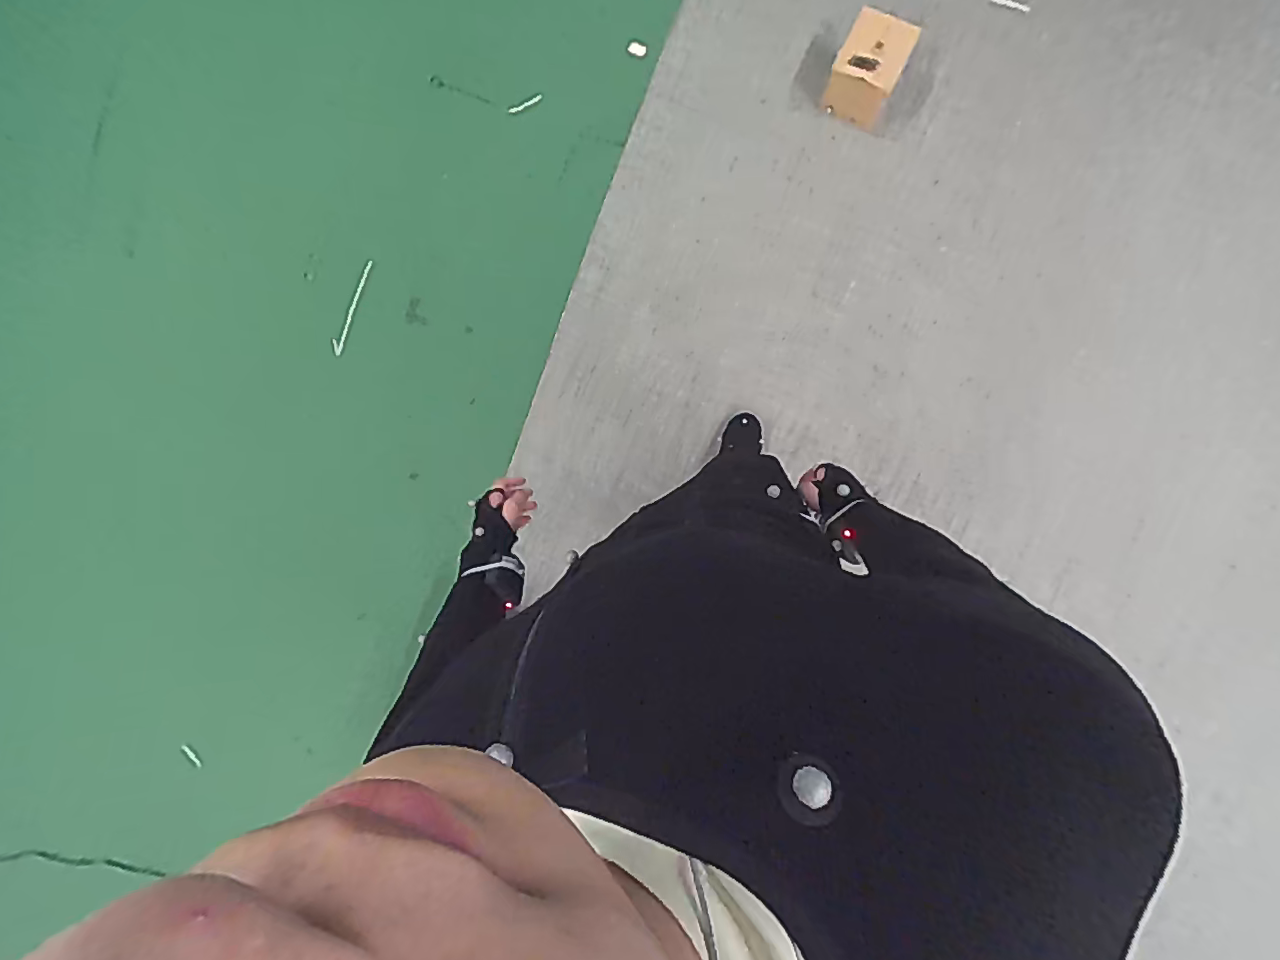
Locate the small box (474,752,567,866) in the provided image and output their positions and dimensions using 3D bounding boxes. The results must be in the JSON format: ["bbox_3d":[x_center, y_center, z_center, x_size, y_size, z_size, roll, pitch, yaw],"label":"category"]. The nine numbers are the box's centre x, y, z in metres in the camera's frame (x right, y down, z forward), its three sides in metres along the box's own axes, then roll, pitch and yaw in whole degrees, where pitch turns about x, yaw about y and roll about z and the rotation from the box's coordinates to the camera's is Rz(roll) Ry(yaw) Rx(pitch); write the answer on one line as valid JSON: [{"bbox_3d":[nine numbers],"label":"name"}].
[{"bbox_3d":[-0.312,0.871,1.454,0.168,0.176,0.179,23,93,5],"label":"small box"}]

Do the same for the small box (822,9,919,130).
[{"bbox_3d":[0.617,-1.109,1.479,0.168,0.176,0.179,27,94,3],"label":"small box"}]

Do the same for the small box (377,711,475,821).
[{"bbox_3d":[-0.573,0.770,1.473,0.168,0.176,0.179,21,94,3],"label":"small box"}]
